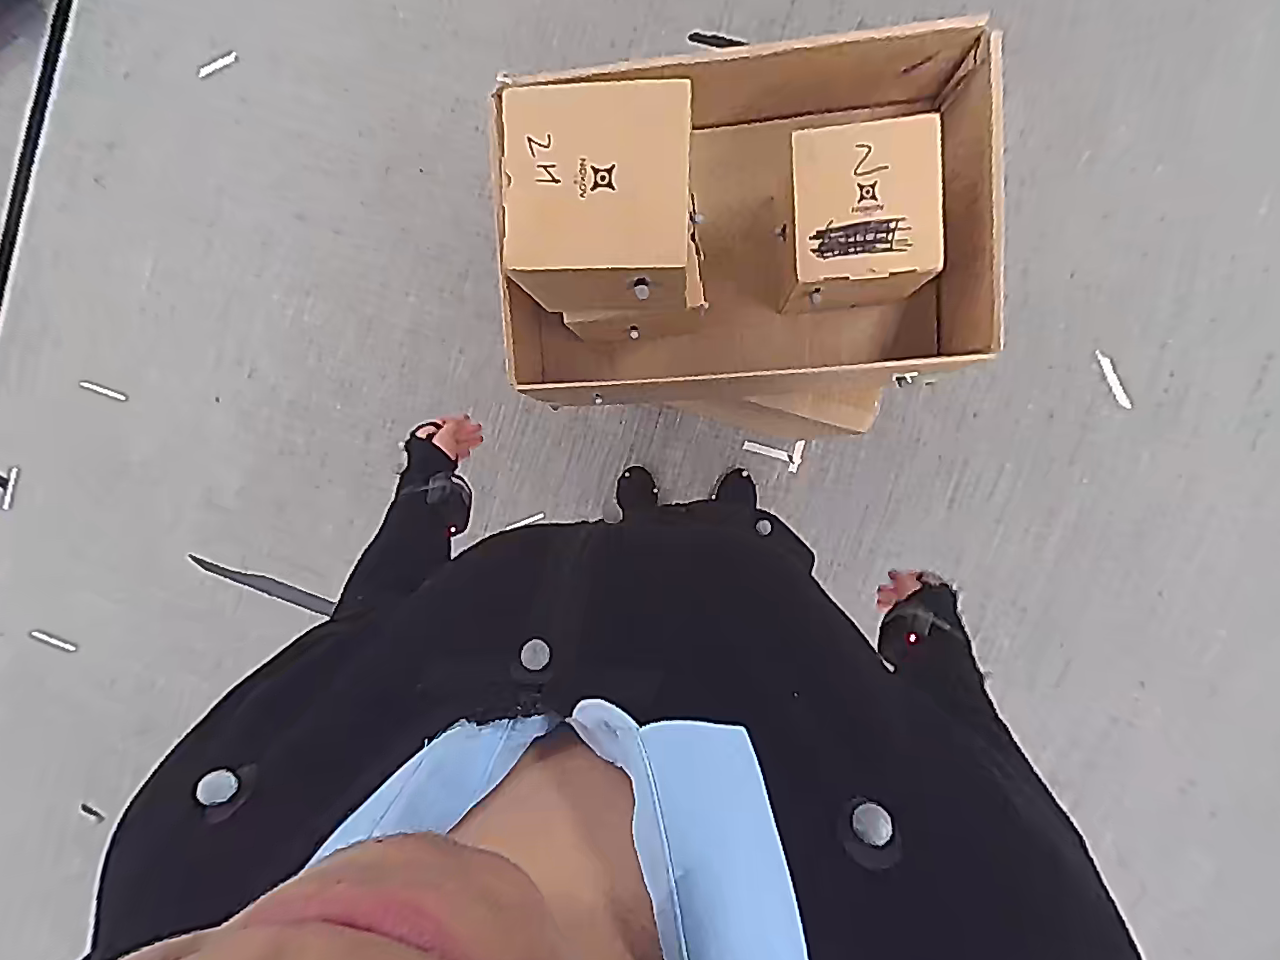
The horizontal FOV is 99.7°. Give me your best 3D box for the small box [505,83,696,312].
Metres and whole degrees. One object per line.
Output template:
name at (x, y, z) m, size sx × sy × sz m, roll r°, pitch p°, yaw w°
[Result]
small box at (-0.032, -0.282, 0.576) m, size 0.179 × 0.176 × 0.168 m, roll 1°, pitch 94°, yaw 6°
